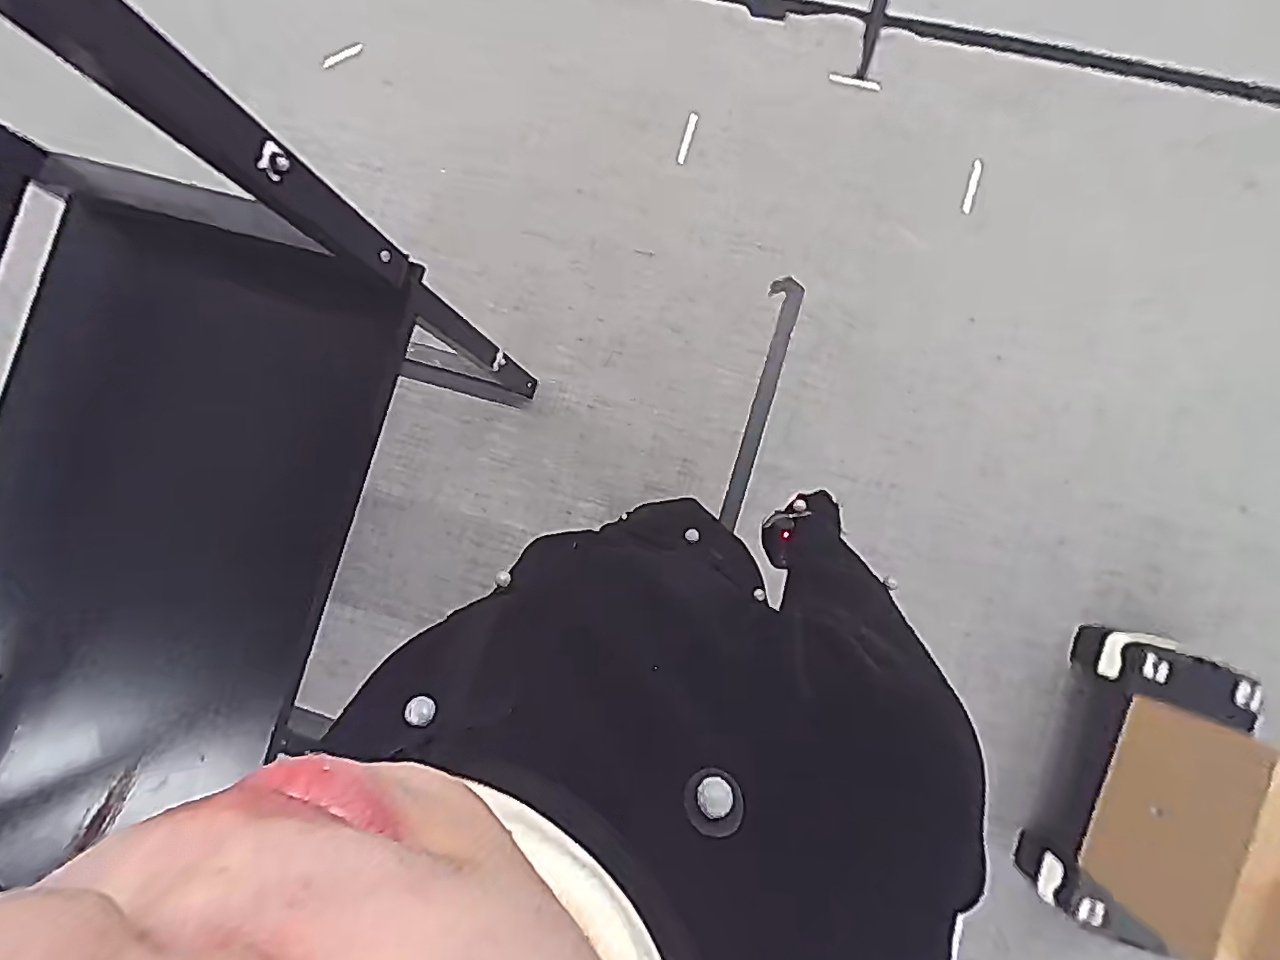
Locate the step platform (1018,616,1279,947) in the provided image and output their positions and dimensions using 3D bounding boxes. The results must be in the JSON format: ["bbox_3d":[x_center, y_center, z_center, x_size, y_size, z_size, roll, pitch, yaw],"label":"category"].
[{"bbox_3d":[1.196,0.688,1.281,0.286,0.204,0.684,21,88,5],"label":"step platform"}]

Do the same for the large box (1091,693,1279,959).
[{"bbox_3d":[1.182,0.697,1.043,0.320,0.320,0.408,19,87,4],"label":"large box"}]
